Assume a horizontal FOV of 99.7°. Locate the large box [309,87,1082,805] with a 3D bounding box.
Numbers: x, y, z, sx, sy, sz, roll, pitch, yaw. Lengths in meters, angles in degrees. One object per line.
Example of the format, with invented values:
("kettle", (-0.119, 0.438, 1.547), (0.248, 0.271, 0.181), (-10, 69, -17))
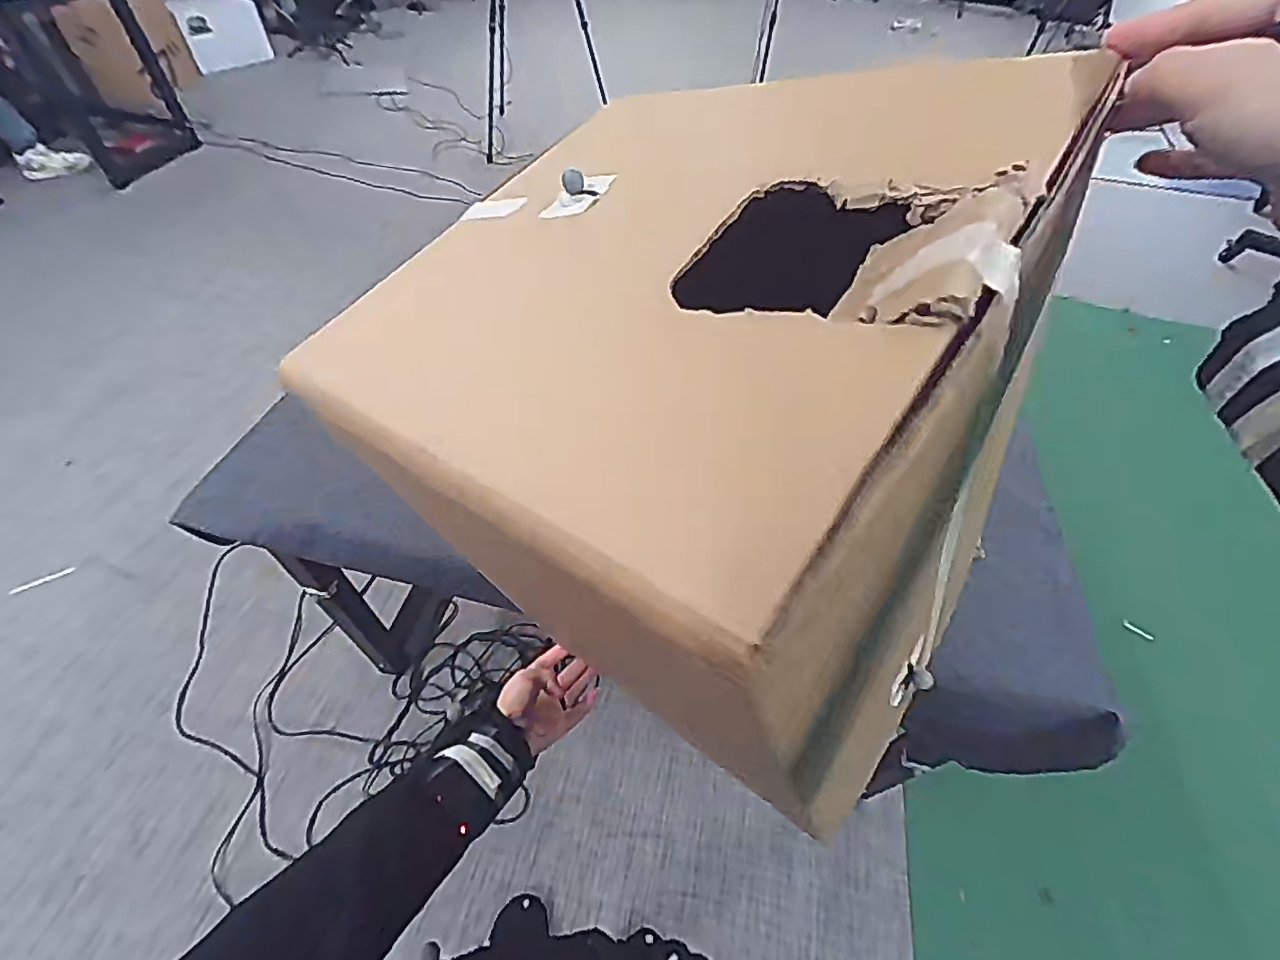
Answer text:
("large box", (0.061, -0.007, 0.427), (0.320, 0.408, 0.320), (24, 66, 33))
